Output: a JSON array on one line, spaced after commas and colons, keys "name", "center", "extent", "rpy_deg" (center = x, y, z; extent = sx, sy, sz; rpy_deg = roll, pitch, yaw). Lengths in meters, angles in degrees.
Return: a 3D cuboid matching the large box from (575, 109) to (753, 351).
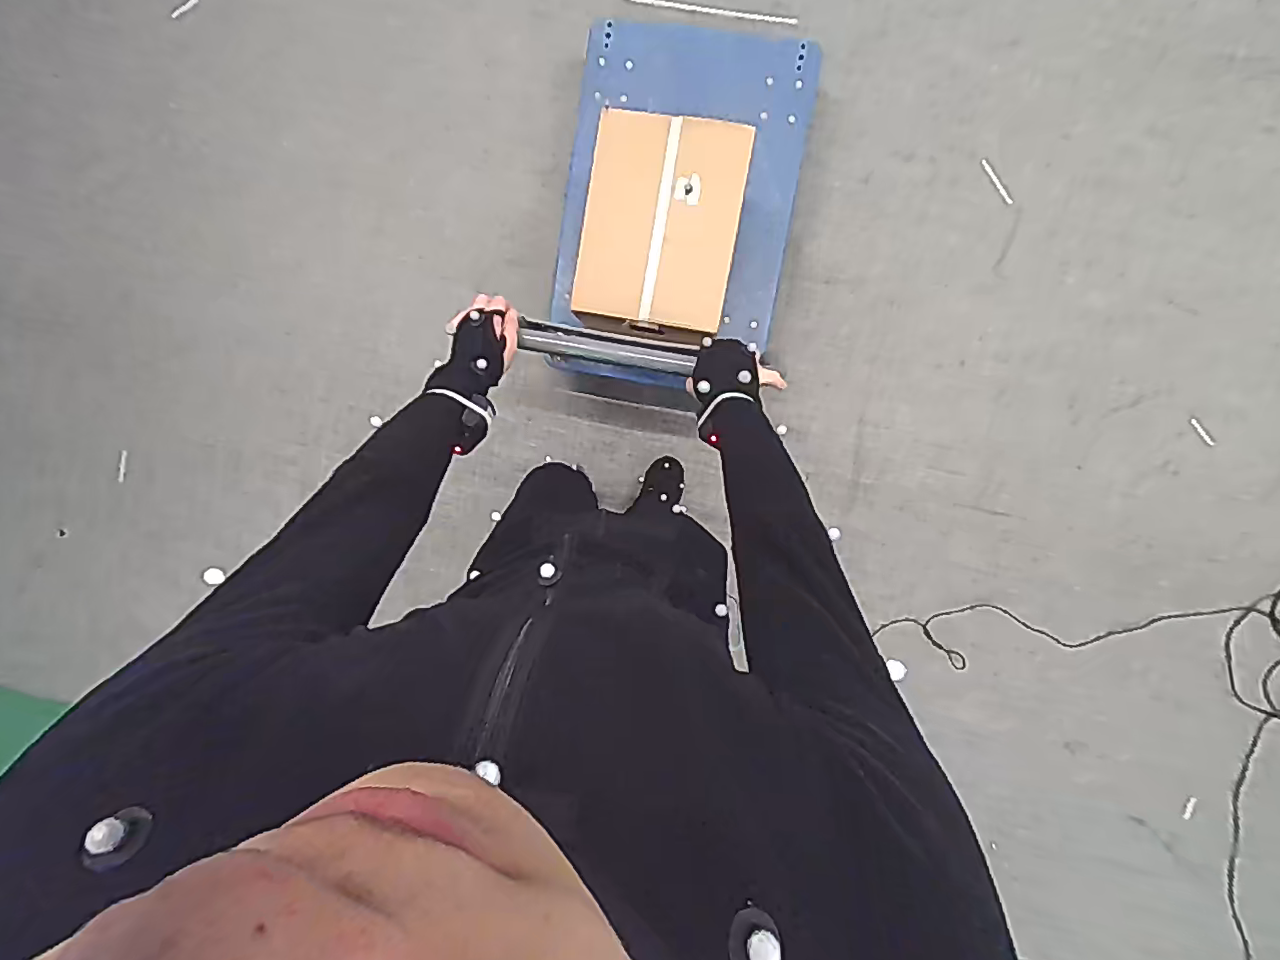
[{"name": "large box", "center": [0.059, -0.535, 1.233], "extent": [0.320, 0.320, 0.408], "rpy_deg": [10, 95, 4]}]
